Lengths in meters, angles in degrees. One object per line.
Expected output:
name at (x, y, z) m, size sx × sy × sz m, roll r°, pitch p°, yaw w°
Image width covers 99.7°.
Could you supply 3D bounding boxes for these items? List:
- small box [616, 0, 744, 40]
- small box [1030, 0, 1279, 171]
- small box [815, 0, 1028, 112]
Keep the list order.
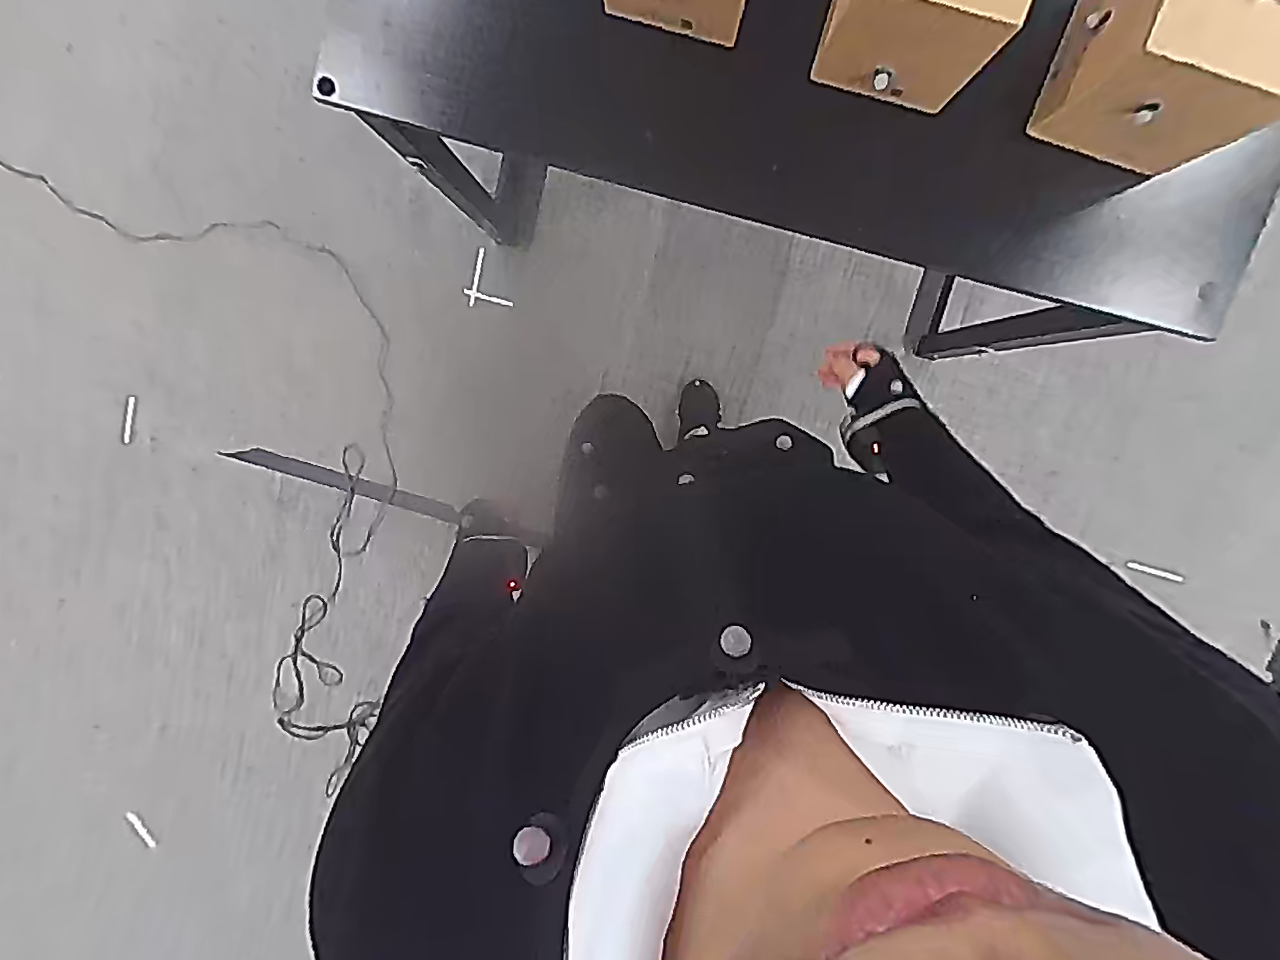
small box at (0.053, -0.624, 0.573) m, size 0.168 × 0.176 × 0.179 m, roll 15°, pitch 99°, yaw -1°
small box at (0.576, -0.467, 0.581) m, size 0.179 × 0.176 × 0.168 m, roll 18°, pitch 99°, yaw 0°
small box at (0.306, -0.545, 0.578) m, size 0.168 × 0.176 × 0.179 m, roll 16°, pitch 100°, yaw 0°
